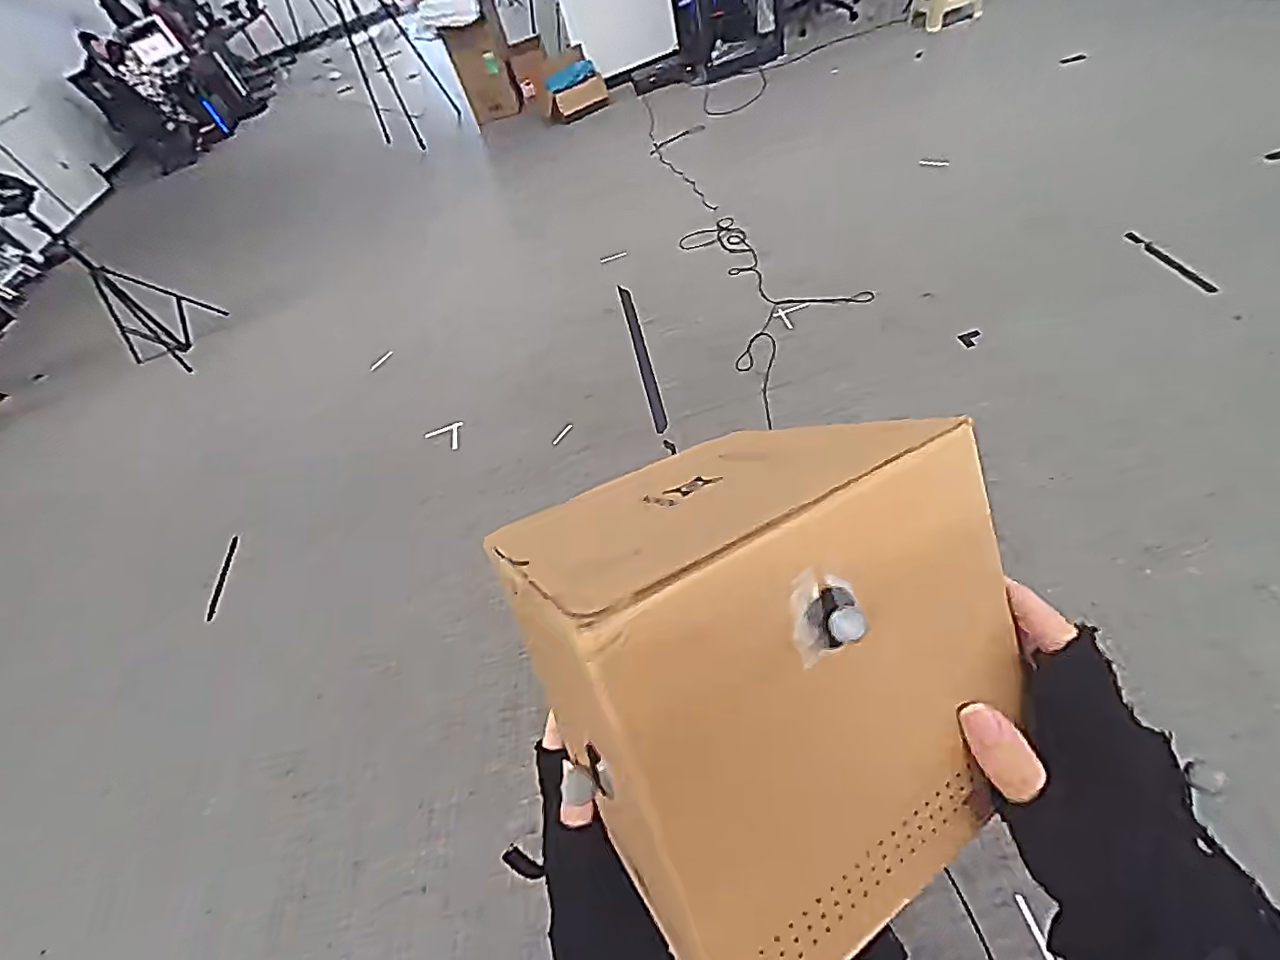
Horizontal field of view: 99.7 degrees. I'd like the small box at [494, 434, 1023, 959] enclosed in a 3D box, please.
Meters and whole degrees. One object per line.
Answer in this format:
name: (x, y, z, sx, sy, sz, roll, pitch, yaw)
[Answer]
small box: (0.051, 0.088, 0.268, 0.179, 0.176, 0.168, -23, 11, -22)
